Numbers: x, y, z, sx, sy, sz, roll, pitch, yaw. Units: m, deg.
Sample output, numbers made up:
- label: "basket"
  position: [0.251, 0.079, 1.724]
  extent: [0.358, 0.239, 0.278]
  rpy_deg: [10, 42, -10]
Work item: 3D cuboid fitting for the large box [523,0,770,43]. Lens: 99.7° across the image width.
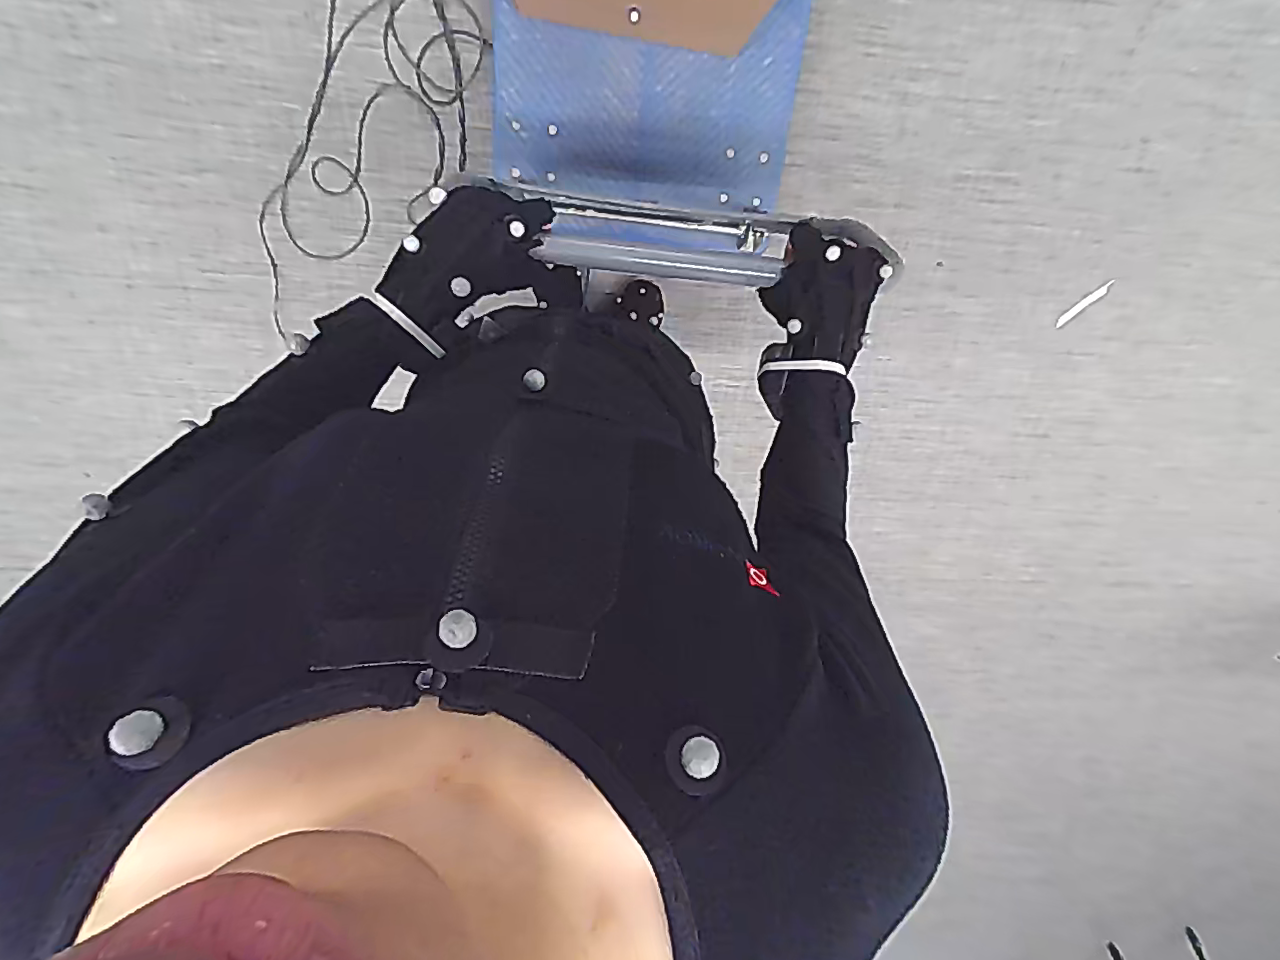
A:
- label: "large box"
  position: [0.015, -0.903, 0.797]
  extent: [0.408, 0.320, 0.320]
  rpy_deg: [6, 114, -6]
